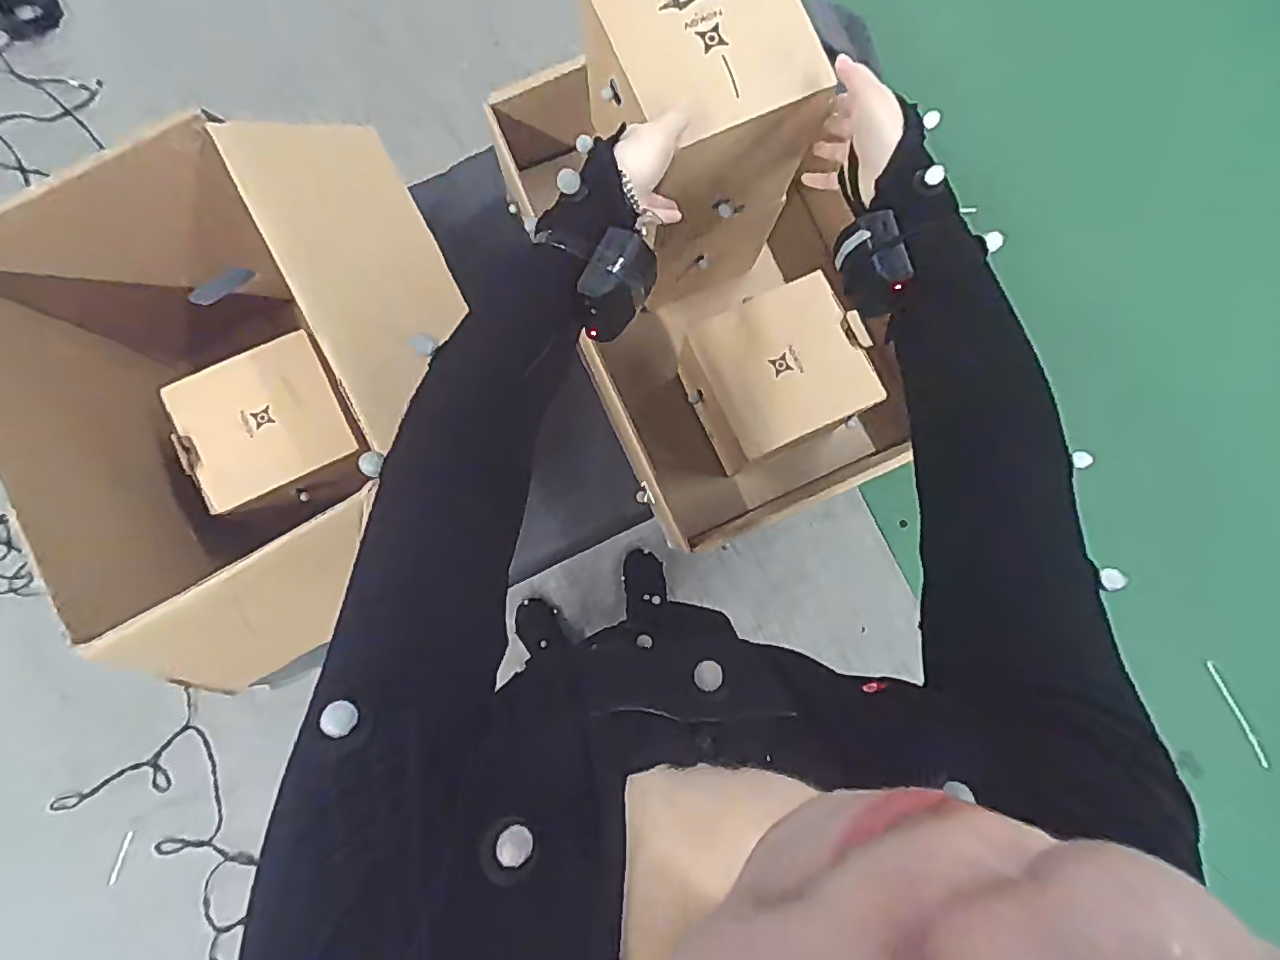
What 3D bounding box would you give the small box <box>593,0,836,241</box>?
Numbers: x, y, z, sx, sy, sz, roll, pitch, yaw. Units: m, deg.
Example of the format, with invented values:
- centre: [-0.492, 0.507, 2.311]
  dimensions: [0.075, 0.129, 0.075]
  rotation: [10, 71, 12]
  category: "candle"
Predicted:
- centre: [0.058, -0.380, 0.541]
  dimensions: [0.168, 0.176, 0.179]
  rotation: [-23, 88, -3]
  category: "small box"
